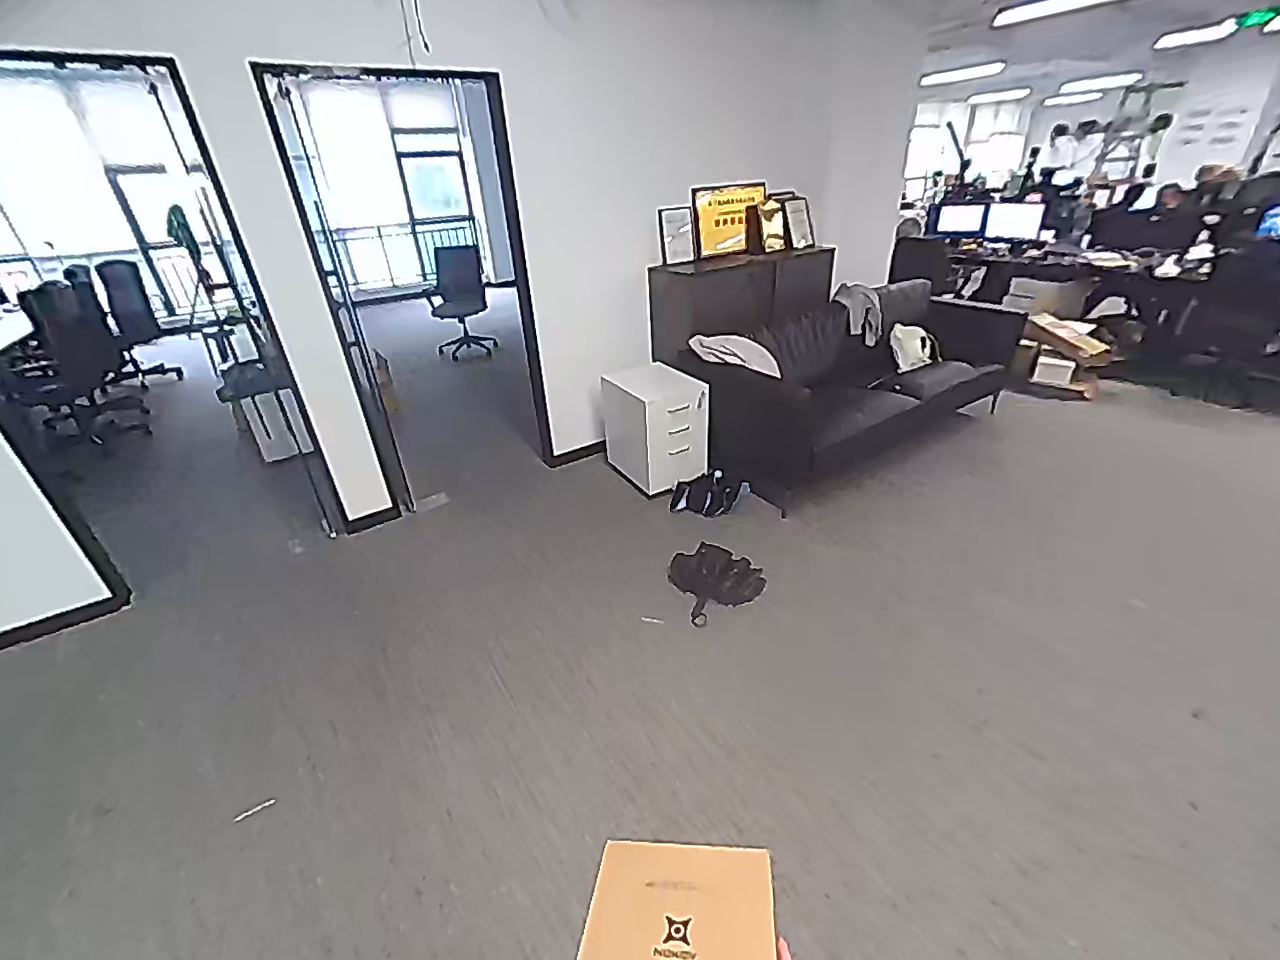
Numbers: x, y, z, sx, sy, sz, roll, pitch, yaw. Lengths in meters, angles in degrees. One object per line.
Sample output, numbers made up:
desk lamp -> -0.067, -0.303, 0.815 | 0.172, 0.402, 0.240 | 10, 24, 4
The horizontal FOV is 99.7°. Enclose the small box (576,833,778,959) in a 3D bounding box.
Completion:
small box -> 0.040, 0.460, 0.480 | 0.168, 0.176, 0.179 | -2, 13, 10
